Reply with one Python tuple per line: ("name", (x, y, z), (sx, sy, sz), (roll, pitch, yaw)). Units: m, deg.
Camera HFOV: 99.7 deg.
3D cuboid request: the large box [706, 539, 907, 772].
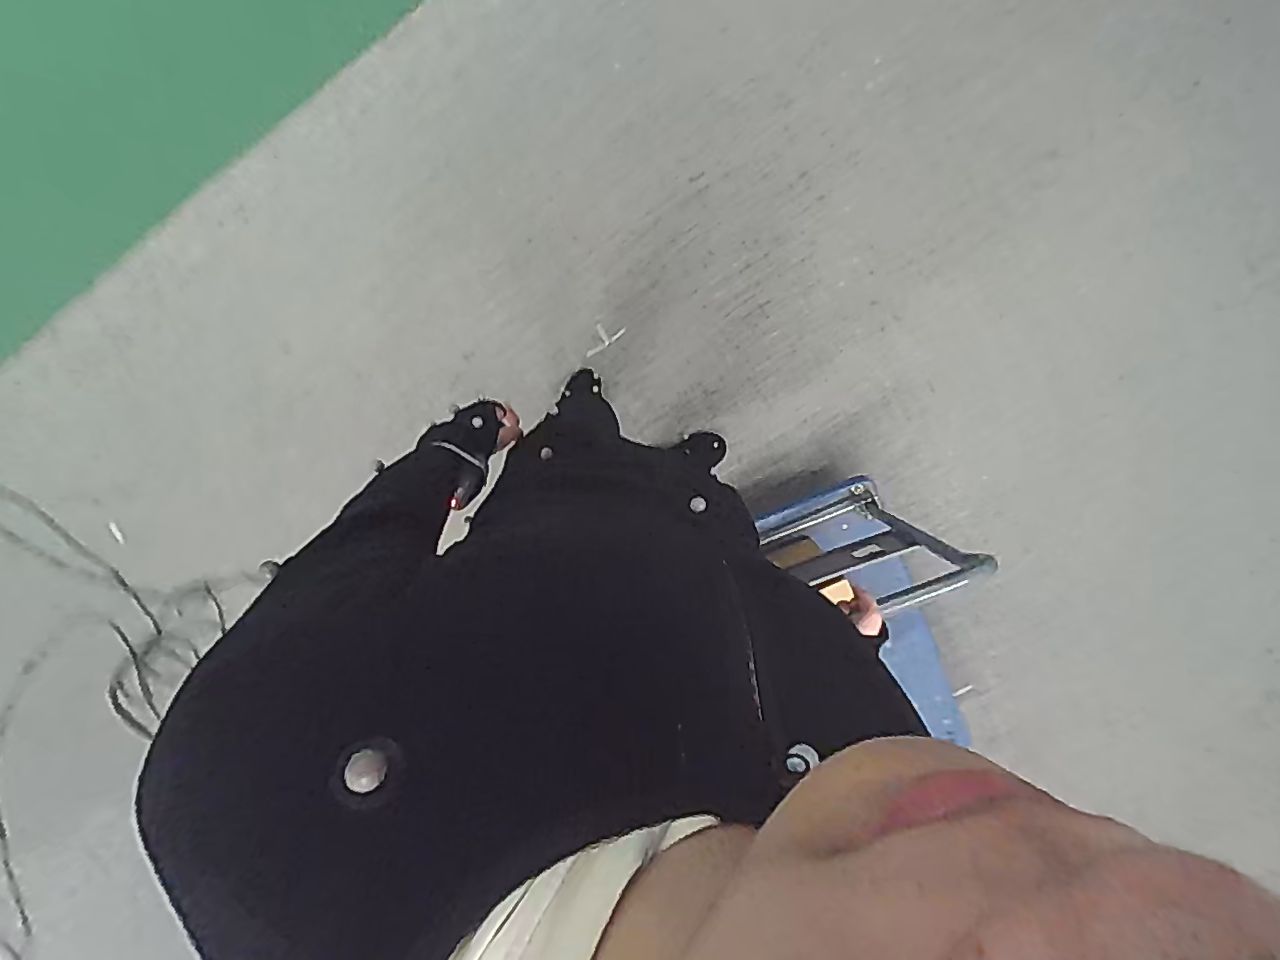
("large box", (0.394, 0.420, 1.363), (0.320, 0.320, 0.408), (-24, 99, 7))
